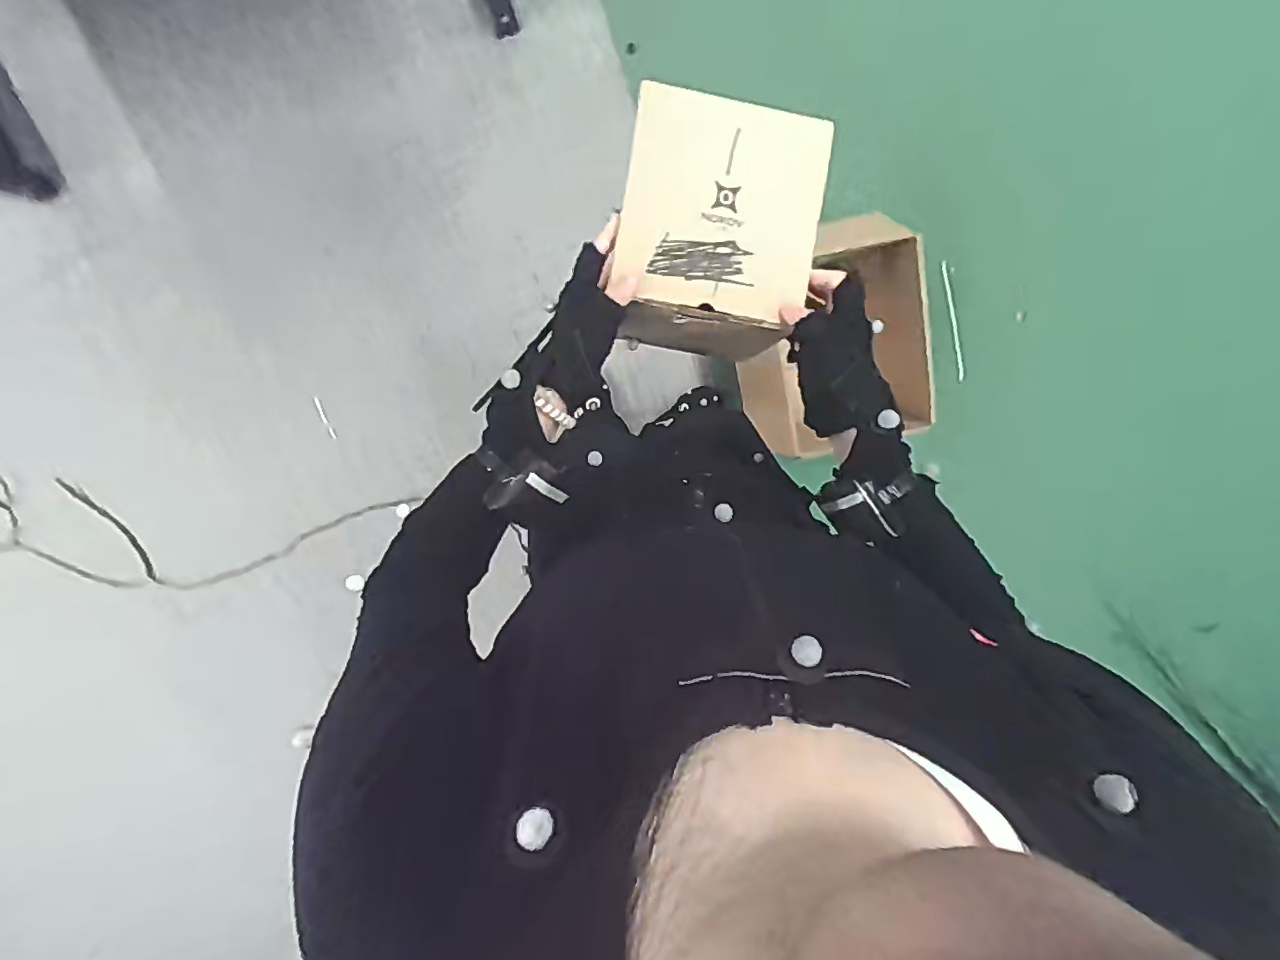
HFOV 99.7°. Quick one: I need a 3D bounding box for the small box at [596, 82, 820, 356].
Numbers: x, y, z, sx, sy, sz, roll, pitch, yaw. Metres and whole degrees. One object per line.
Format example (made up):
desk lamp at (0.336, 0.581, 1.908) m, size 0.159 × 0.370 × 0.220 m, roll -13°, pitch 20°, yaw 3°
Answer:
small box at (0.052, -0.227, 0.521) m, size 0.168 × 0.176 × 0.179 m, roll 8°, pitch 91°, yaw -5°
